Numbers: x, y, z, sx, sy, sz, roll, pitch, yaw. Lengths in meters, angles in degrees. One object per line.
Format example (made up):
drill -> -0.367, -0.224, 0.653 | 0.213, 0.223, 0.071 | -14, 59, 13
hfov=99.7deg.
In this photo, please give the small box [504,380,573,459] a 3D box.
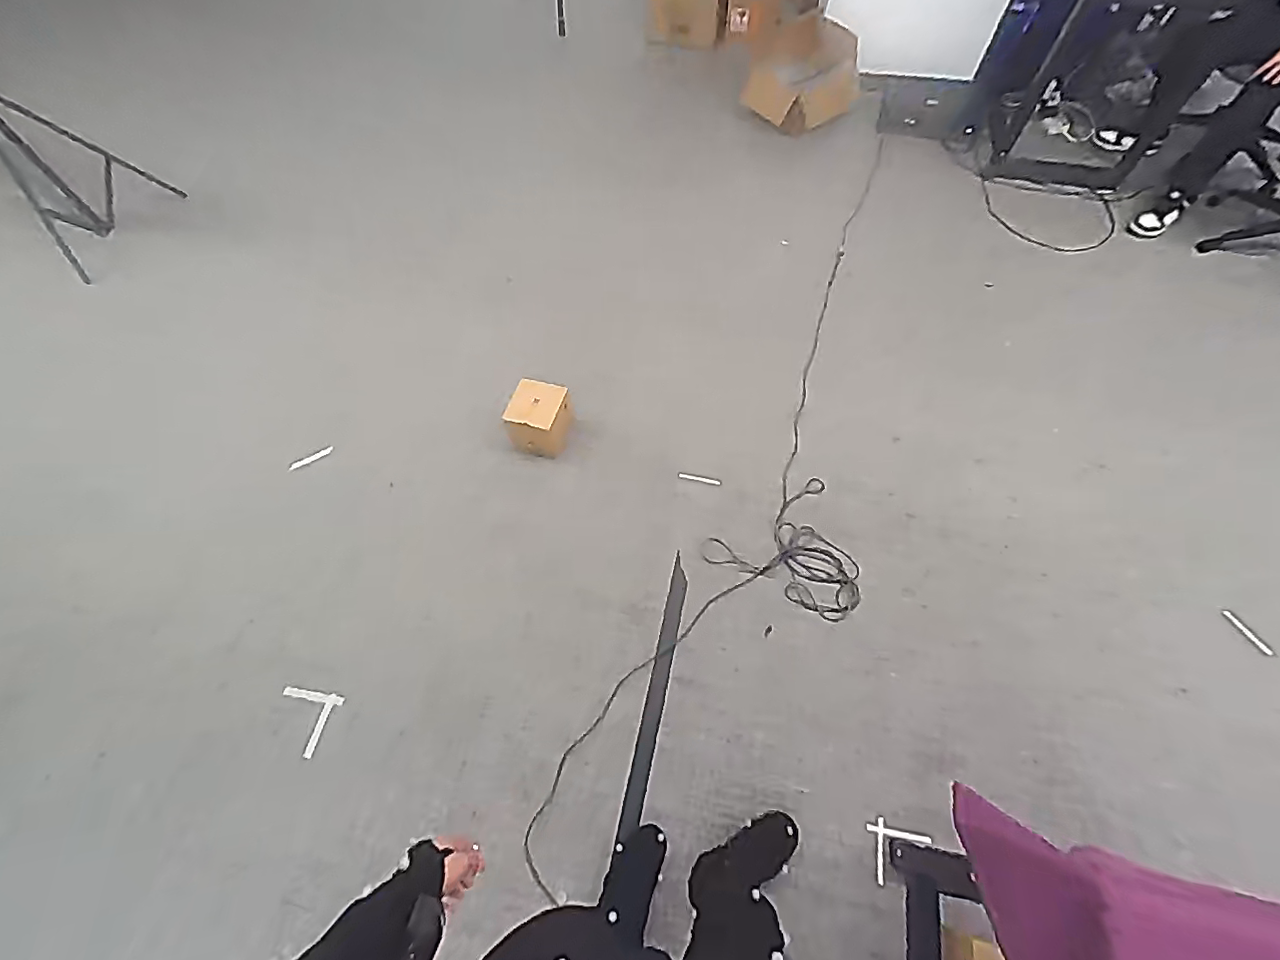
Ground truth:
small box -> -0.330, -0.200, 1.809 | 0.168, 0.176, 0.179 | 14, 63, 9
